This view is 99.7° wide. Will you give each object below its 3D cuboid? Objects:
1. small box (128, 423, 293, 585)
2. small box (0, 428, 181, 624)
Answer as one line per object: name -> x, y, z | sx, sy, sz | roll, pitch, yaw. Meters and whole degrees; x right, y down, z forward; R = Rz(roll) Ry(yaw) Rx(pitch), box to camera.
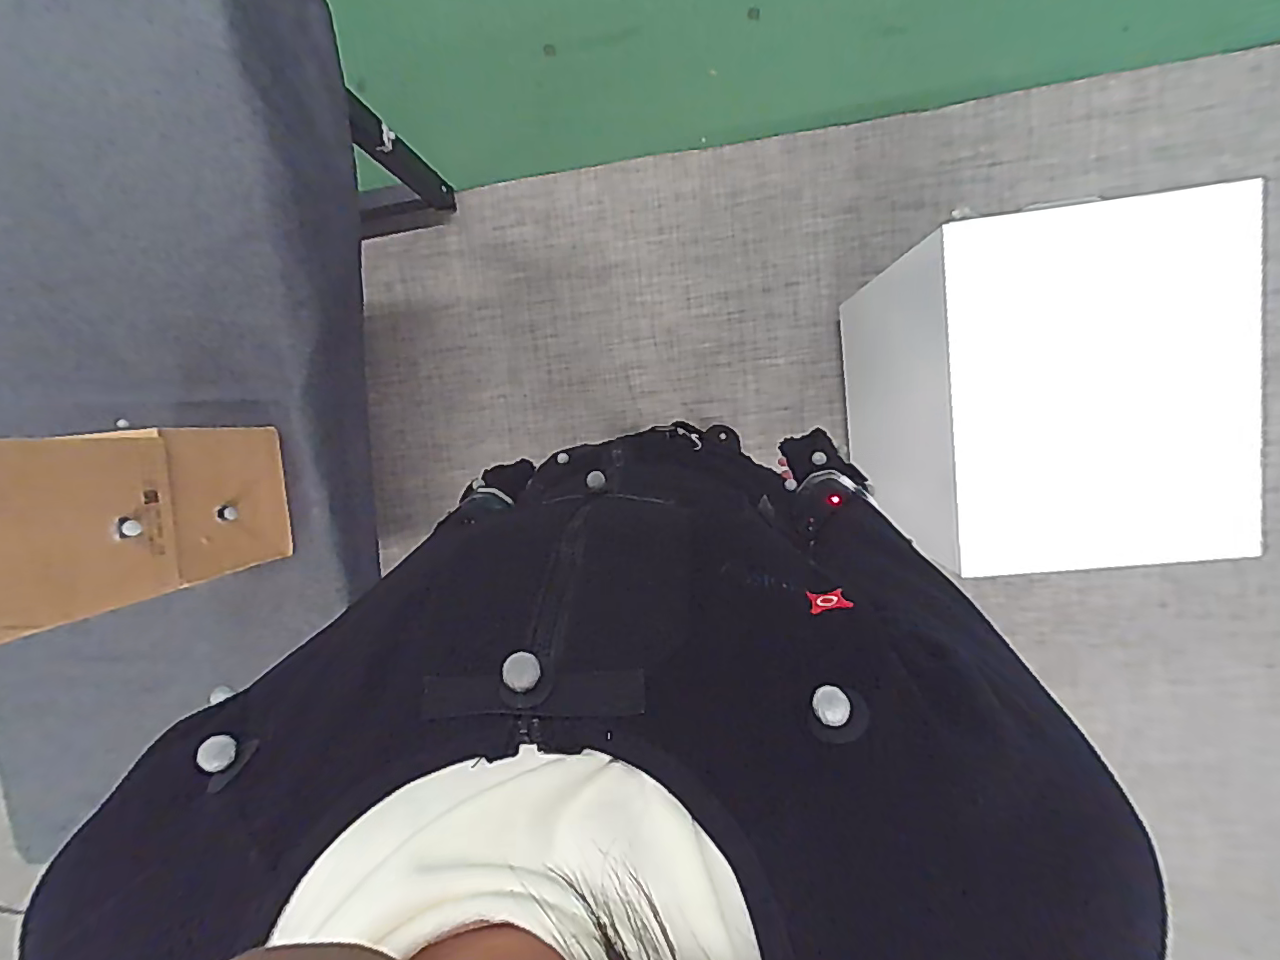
small box -> -0.572, 0.022, 0.676 | 0.168, 0.176, 0.179 | -3, 96, 8
small box -> -0.598, 0.039, 0.515 | 0.179, 0.176, 0.168 | -3, 95, 10
